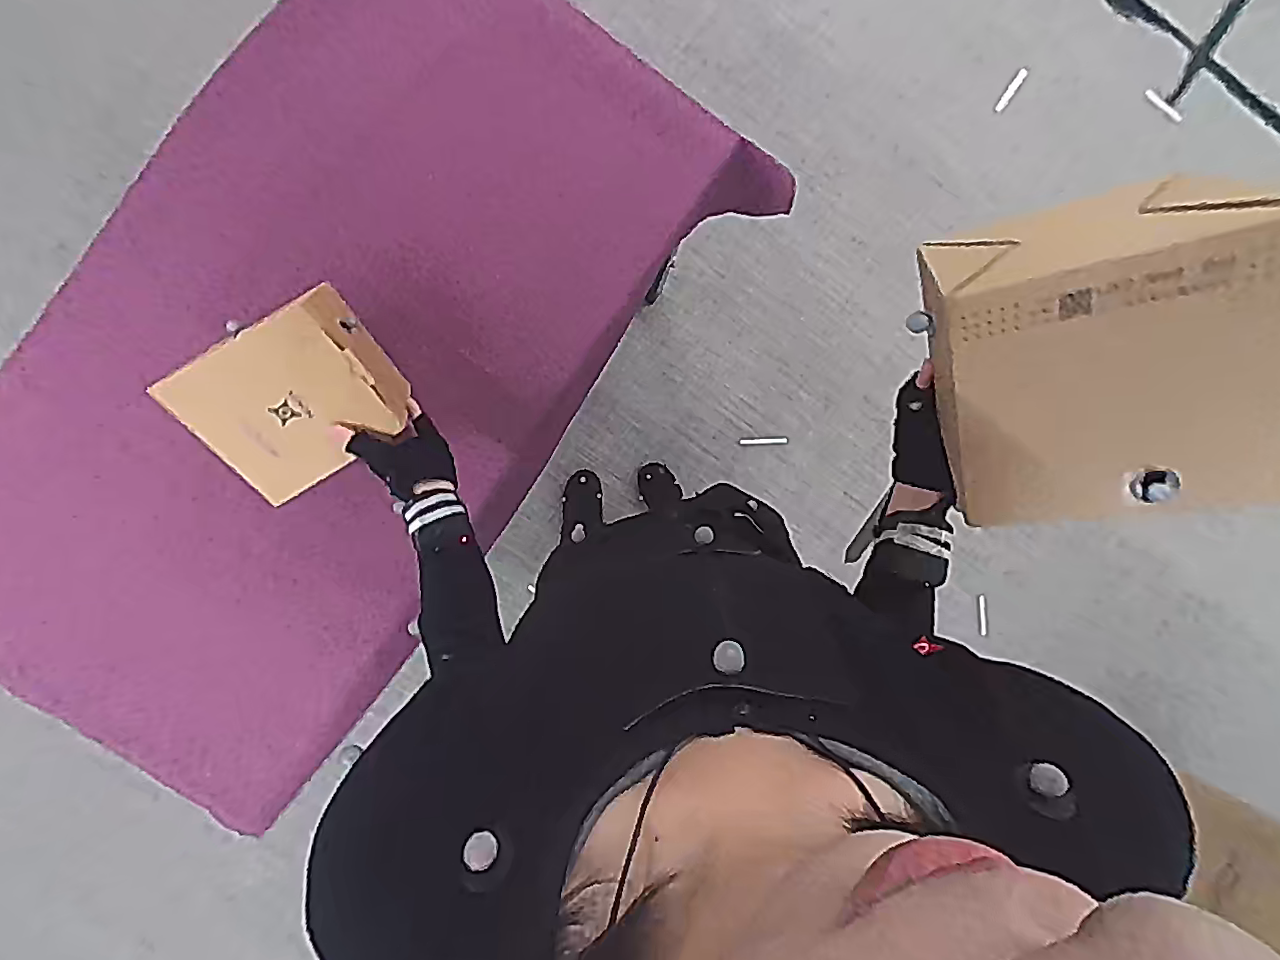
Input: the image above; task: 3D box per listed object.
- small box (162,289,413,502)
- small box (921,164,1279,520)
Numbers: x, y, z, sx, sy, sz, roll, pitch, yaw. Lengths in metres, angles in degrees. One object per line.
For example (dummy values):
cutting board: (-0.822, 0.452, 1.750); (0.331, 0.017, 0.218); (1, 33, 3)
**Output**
small box: (-0.399, -0.112, 0.654); (0.179, 0.176, 0.168); (-33, 120, -2)
small box: (0.296, -0.096, 0.368); (0.168, 0.179, 0.176); (-9, 118, 27)
